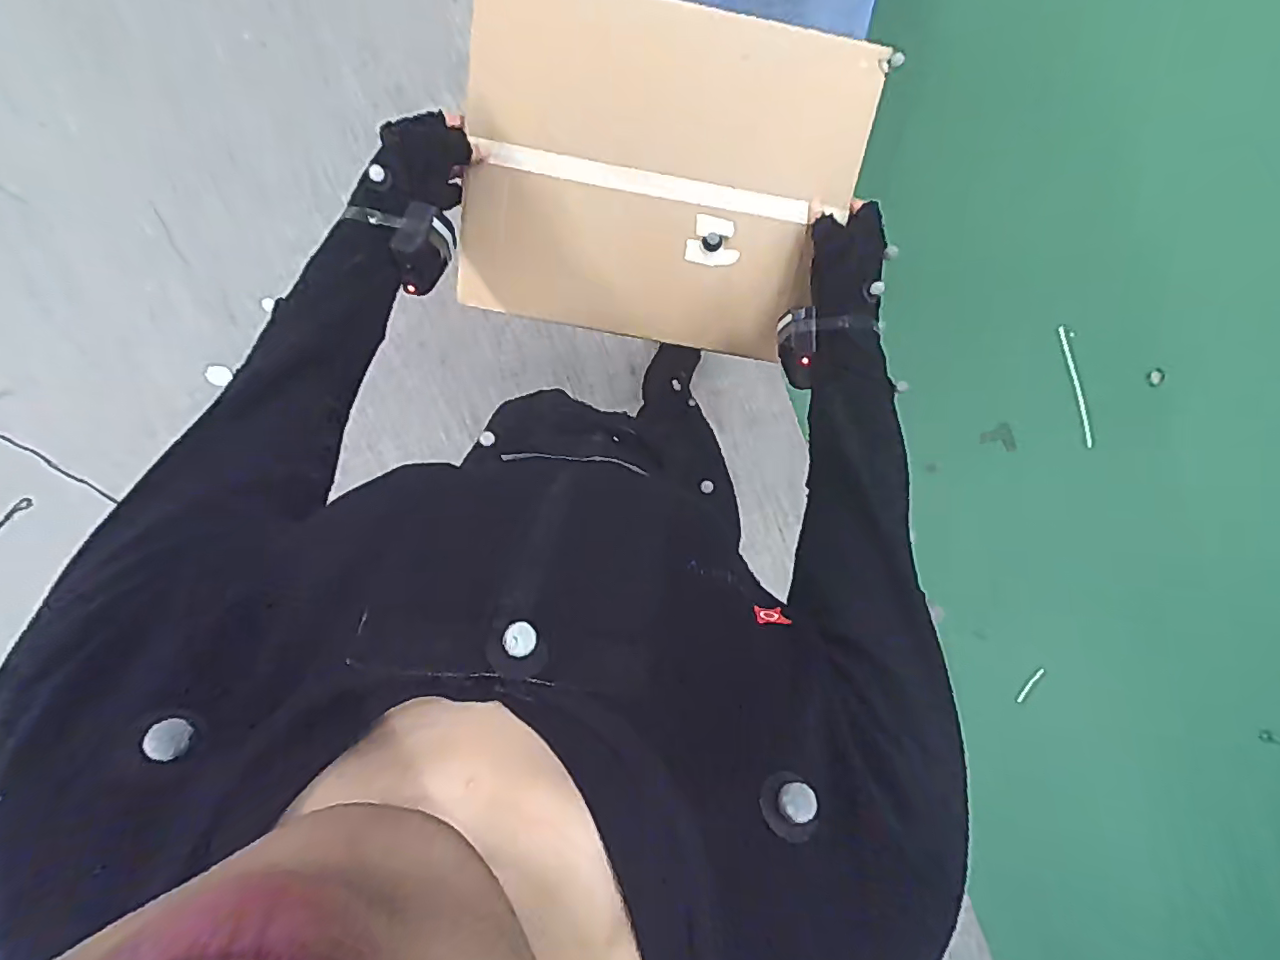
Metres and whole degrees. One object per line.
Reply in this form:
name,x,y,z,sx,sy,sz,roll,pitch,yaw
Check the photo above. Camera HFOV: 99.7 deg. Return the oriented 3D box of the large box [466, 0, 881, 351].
large box,0.017,-0.366,0.710,0.408,0.320,0.320,9,109,-4
